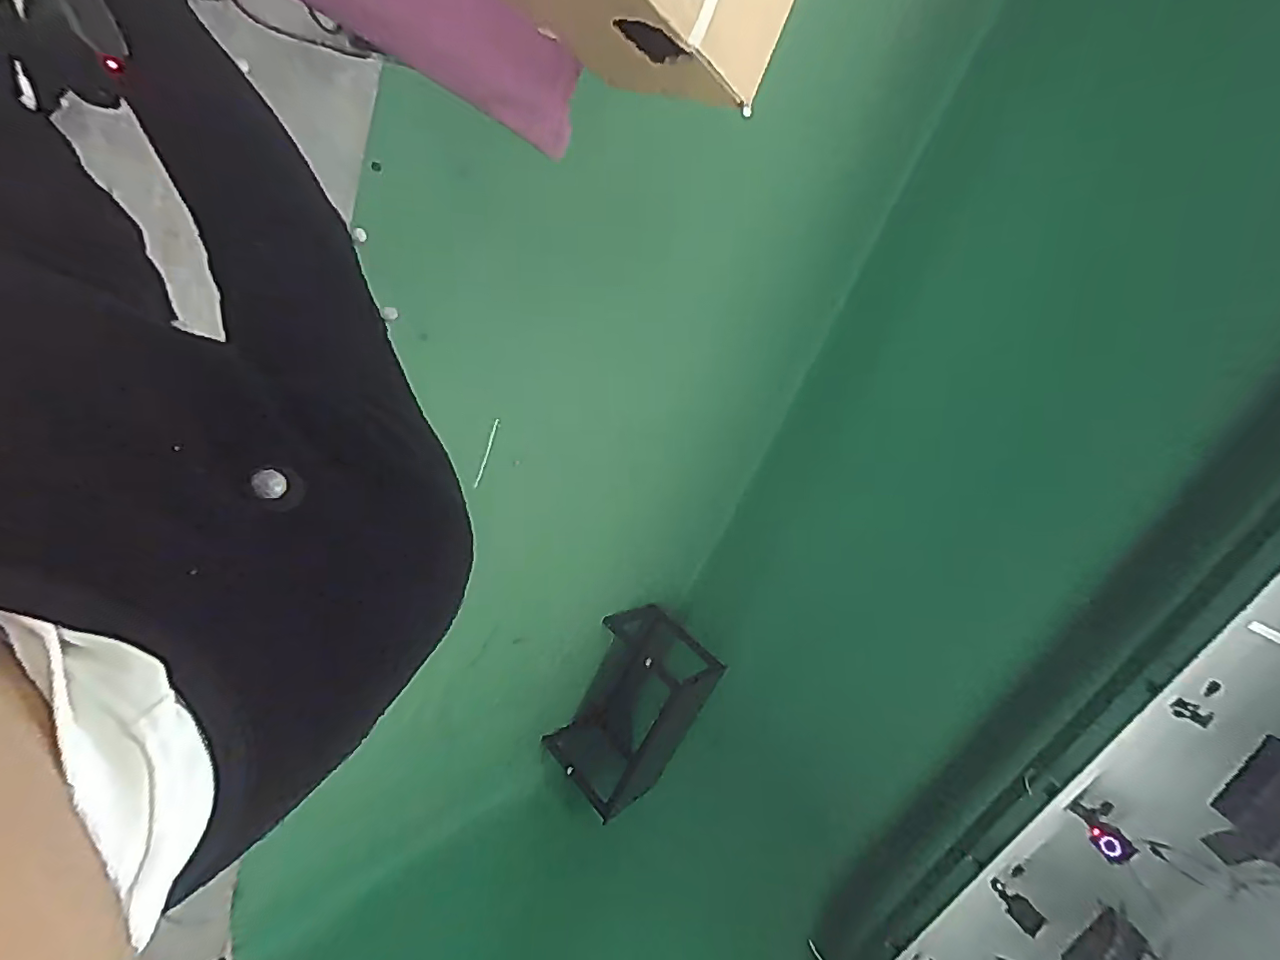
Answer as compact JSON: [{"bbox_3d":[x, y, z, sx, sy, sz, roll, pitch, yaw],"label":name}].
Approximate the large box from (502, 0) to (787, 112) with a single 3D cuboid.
[{"bbox_3d":[0.025,-0.769,0.667,0.320,0.320,0.408,-2,123,-51],"label":"large box"}]
